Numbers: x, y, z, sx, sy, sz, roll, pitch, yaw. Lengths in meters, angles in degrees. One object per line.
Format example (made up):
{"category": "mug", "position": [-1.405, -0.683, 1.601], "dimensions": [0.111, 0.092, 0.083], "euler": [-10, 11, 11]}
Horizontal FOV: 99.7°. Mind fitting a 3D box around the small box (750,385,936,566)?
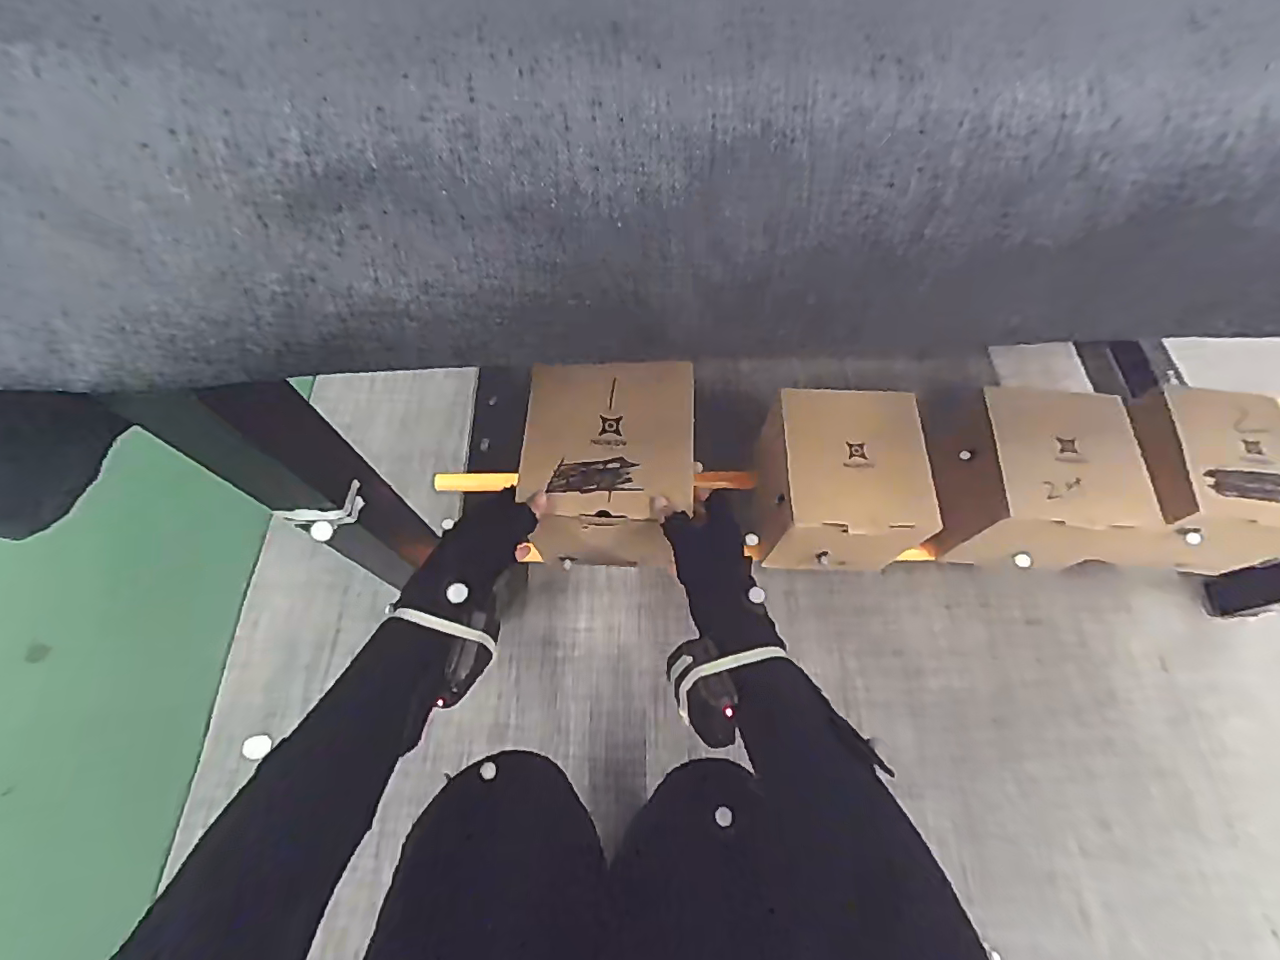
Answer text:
{"category": "small box", "position": [0.240, 0.000, 0.690], "dimensions": [0.168, 0.176, 0.179], "euler": [1, 66, 0]}
